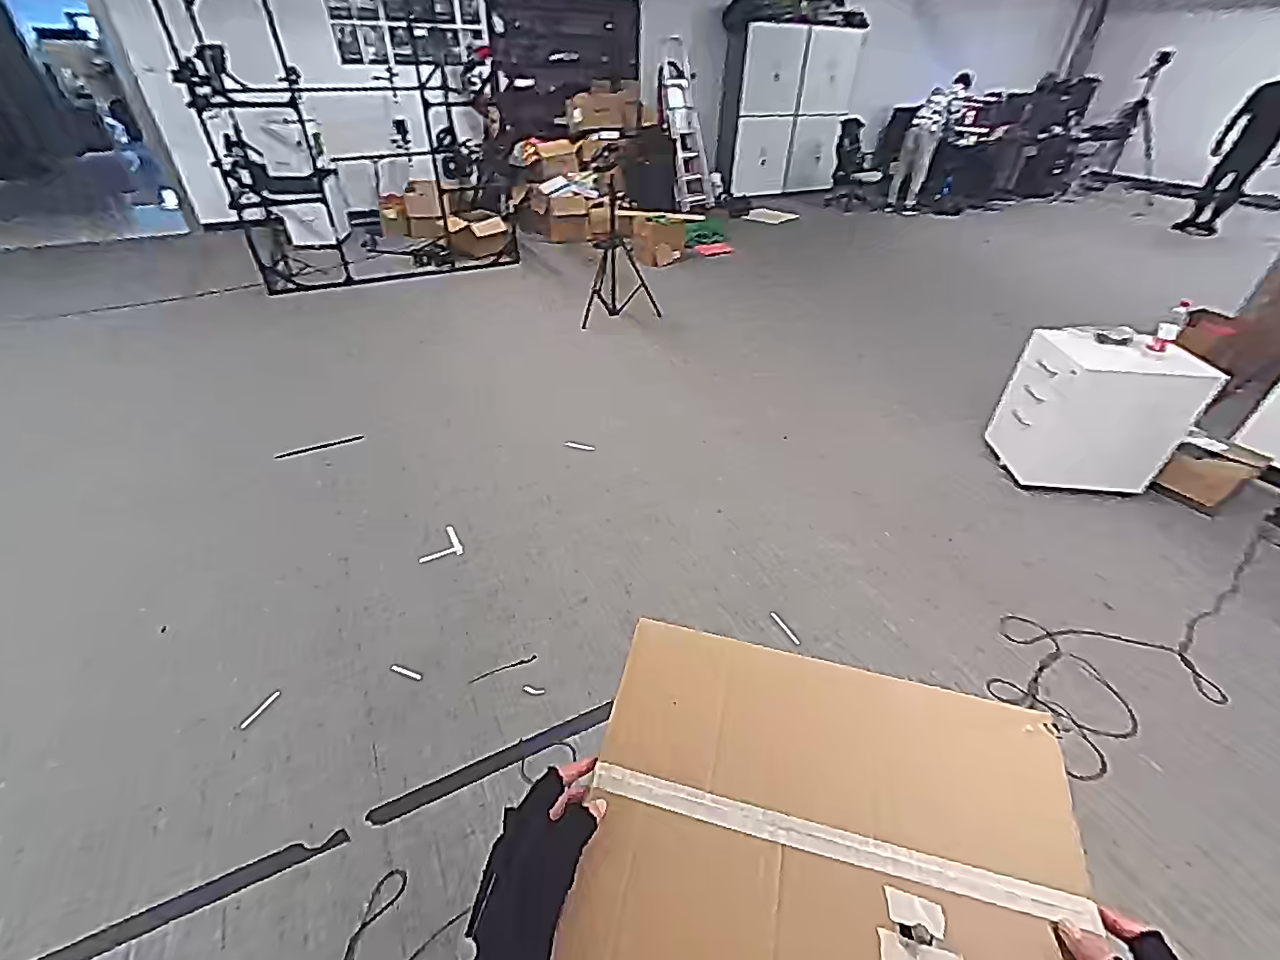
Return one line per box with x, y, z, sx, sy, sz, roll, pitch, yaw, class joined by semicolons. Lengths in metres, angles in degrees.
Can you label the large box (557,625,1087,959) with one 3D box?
0.158;0.401;0.582;0.408;0.320;0.320;11;51;10;large box
